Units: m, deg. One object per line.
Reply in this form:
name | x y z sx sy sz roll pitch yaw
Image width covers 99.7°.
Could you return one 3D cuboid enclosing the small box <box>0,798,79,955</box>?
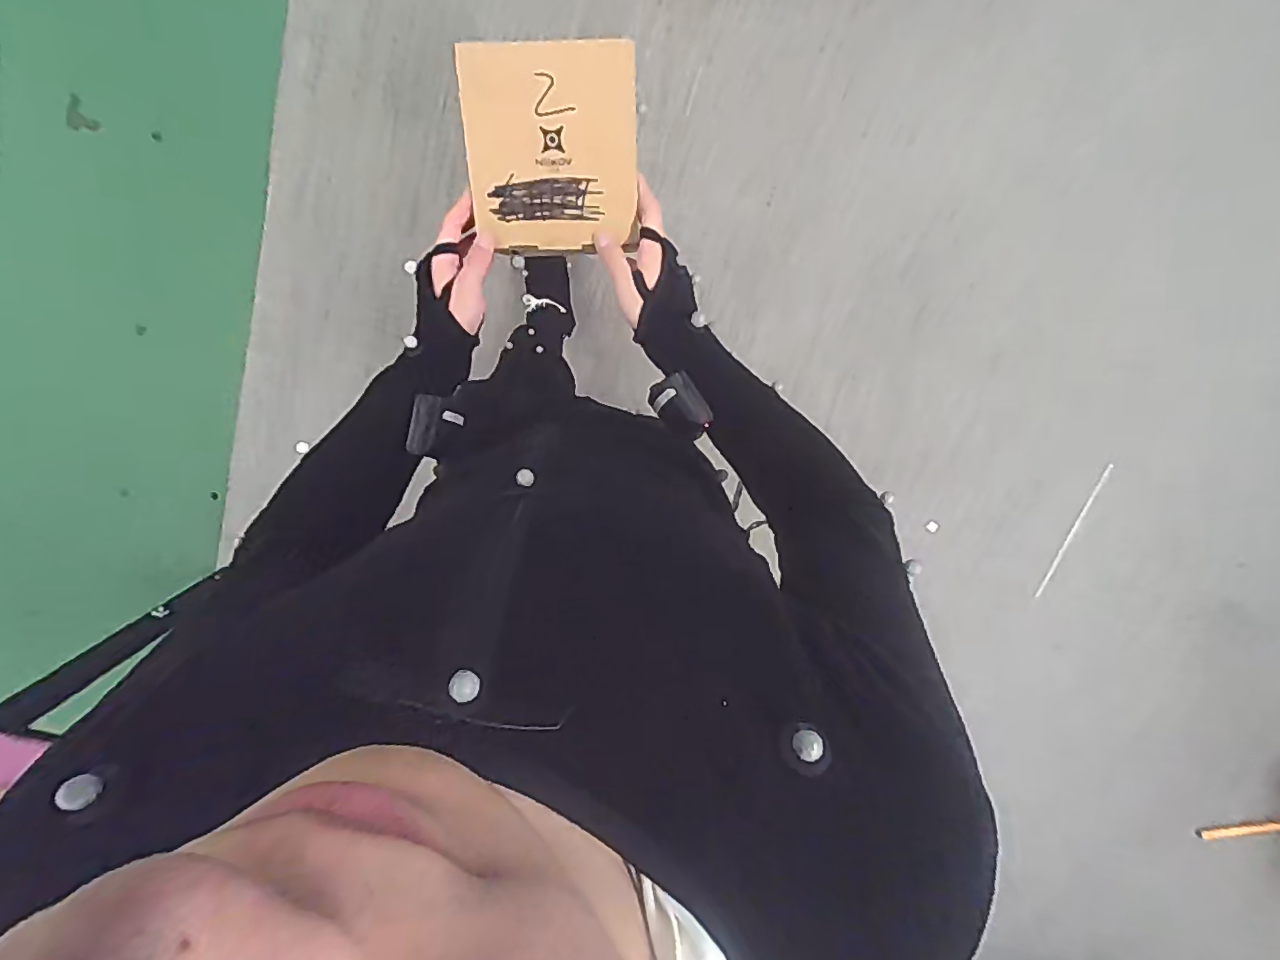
small box | -1.132 0.695 0.933 0.168 0.176 0.179 15 106 -7
